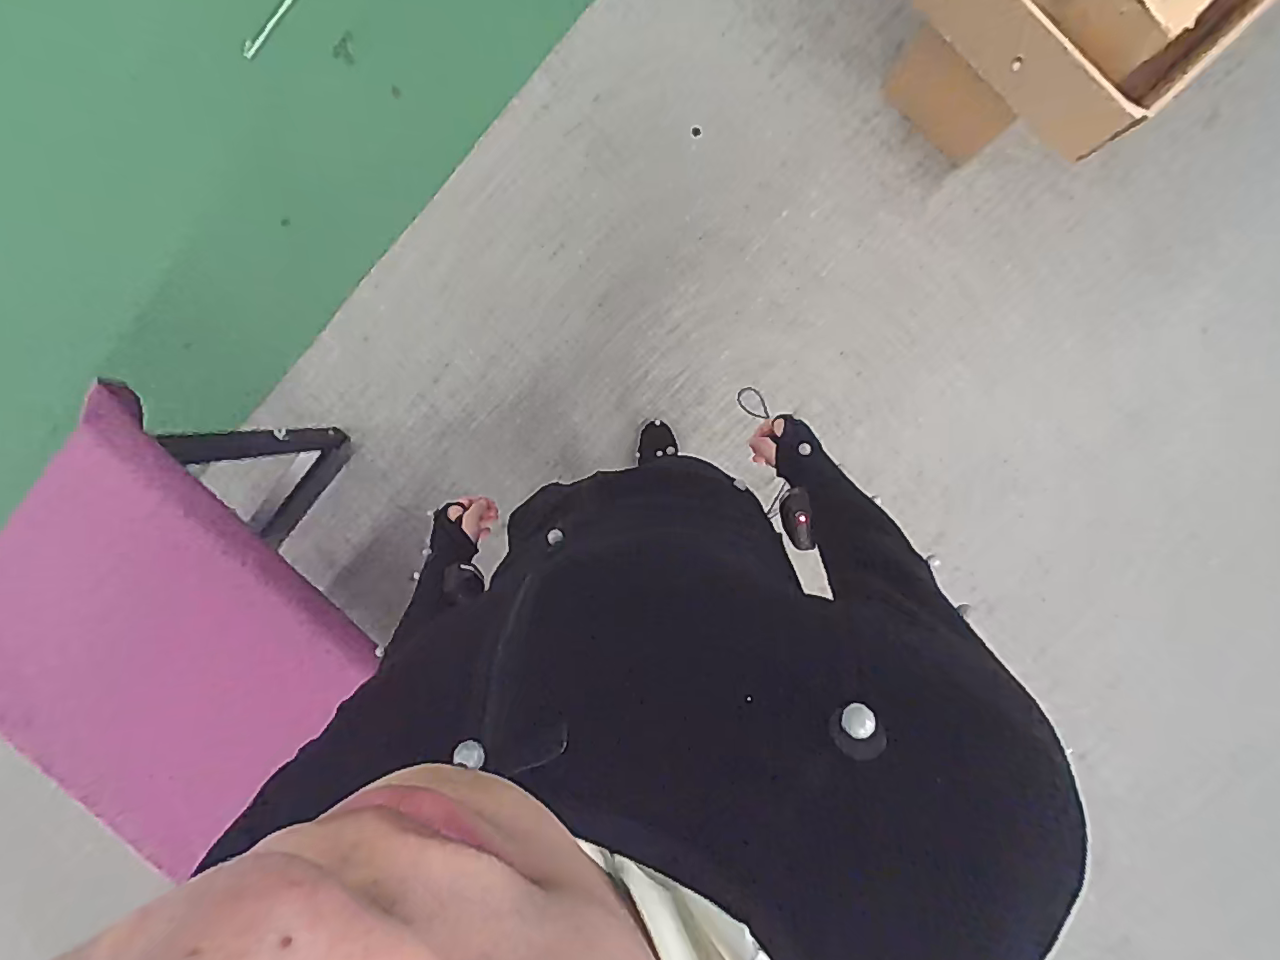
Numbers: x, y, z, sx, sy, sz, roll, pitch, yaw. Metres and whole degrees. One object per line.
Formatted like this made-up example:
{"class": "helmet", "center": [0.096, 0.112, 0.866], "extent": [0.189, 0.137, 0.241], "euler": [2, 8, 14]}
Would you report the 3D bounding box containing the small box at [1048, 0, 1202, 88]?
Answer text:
{"class": "small box", "center": [0.880, -0.861, 0.961], "extent": [0.168, 0.176, 0.179], "euler": [44, 96, -2]}
